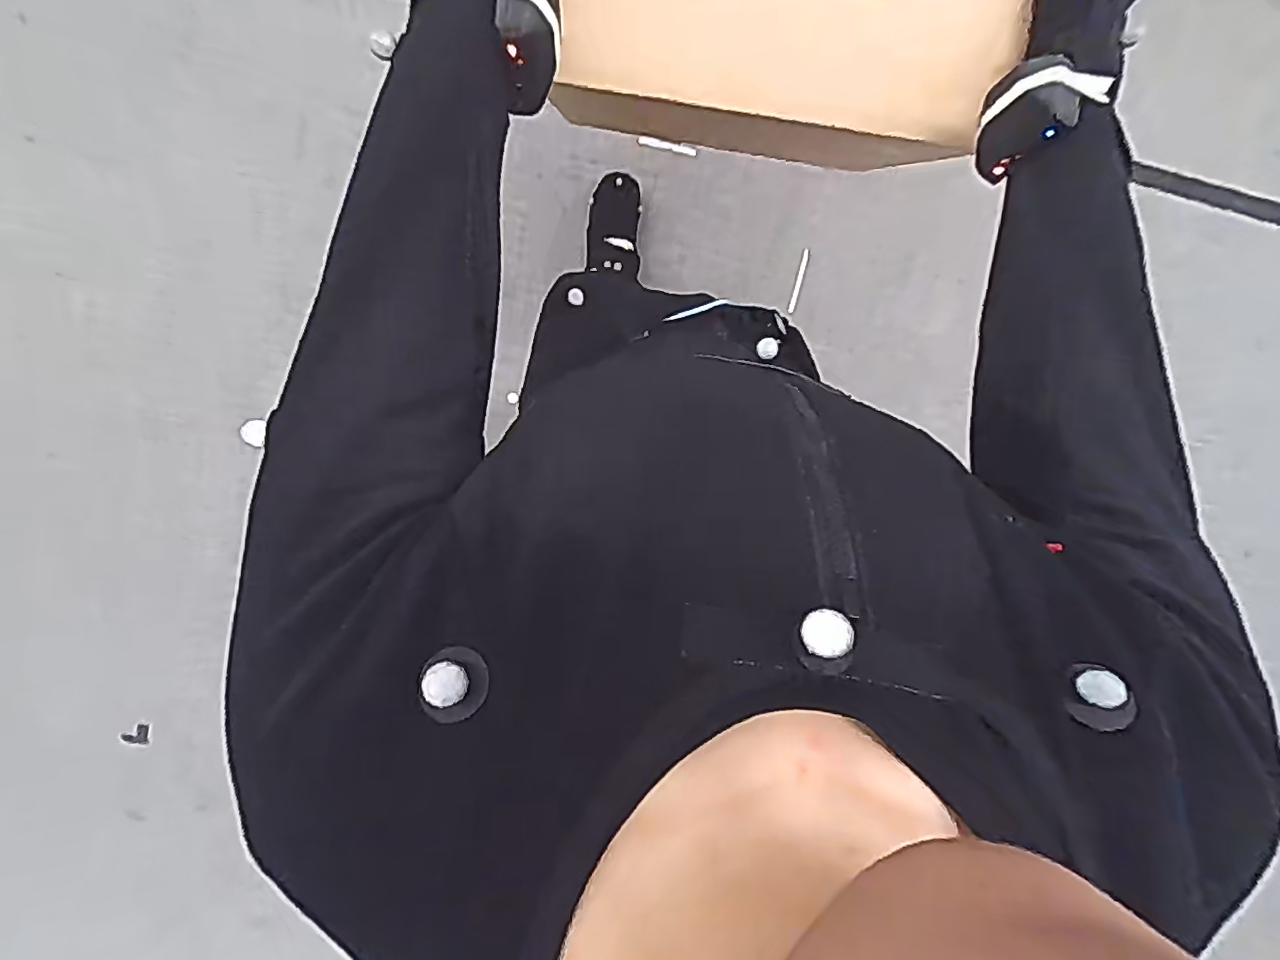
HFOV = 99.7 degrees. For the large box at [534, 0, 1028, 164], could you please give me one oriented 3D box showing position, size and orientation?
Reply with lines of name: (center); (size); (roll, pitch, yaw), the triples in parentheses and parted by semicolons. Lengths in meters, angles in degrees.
large box: (0.120, -0.521, 0.532); (0.408, 0.320, 0.320); (6, 118, -4)
